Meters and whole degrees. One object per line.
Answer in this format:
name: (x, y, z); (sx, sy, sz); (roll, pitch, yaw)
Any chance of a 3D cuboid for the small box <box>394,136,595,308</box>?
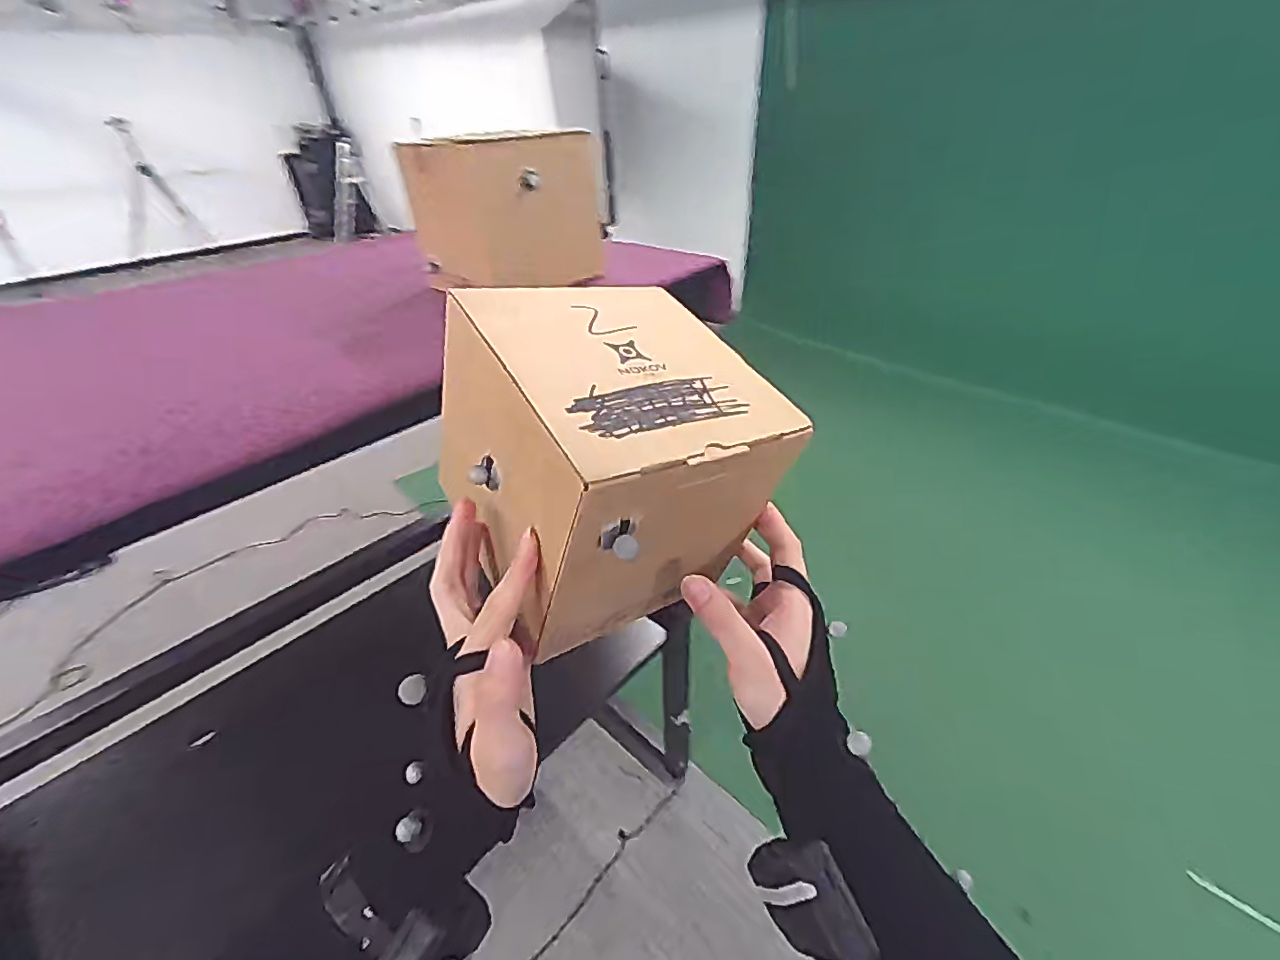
small box: (-0.173, -0.331, 0.690); (0.168, 0.176, 0.179); (27, 45, 36)
